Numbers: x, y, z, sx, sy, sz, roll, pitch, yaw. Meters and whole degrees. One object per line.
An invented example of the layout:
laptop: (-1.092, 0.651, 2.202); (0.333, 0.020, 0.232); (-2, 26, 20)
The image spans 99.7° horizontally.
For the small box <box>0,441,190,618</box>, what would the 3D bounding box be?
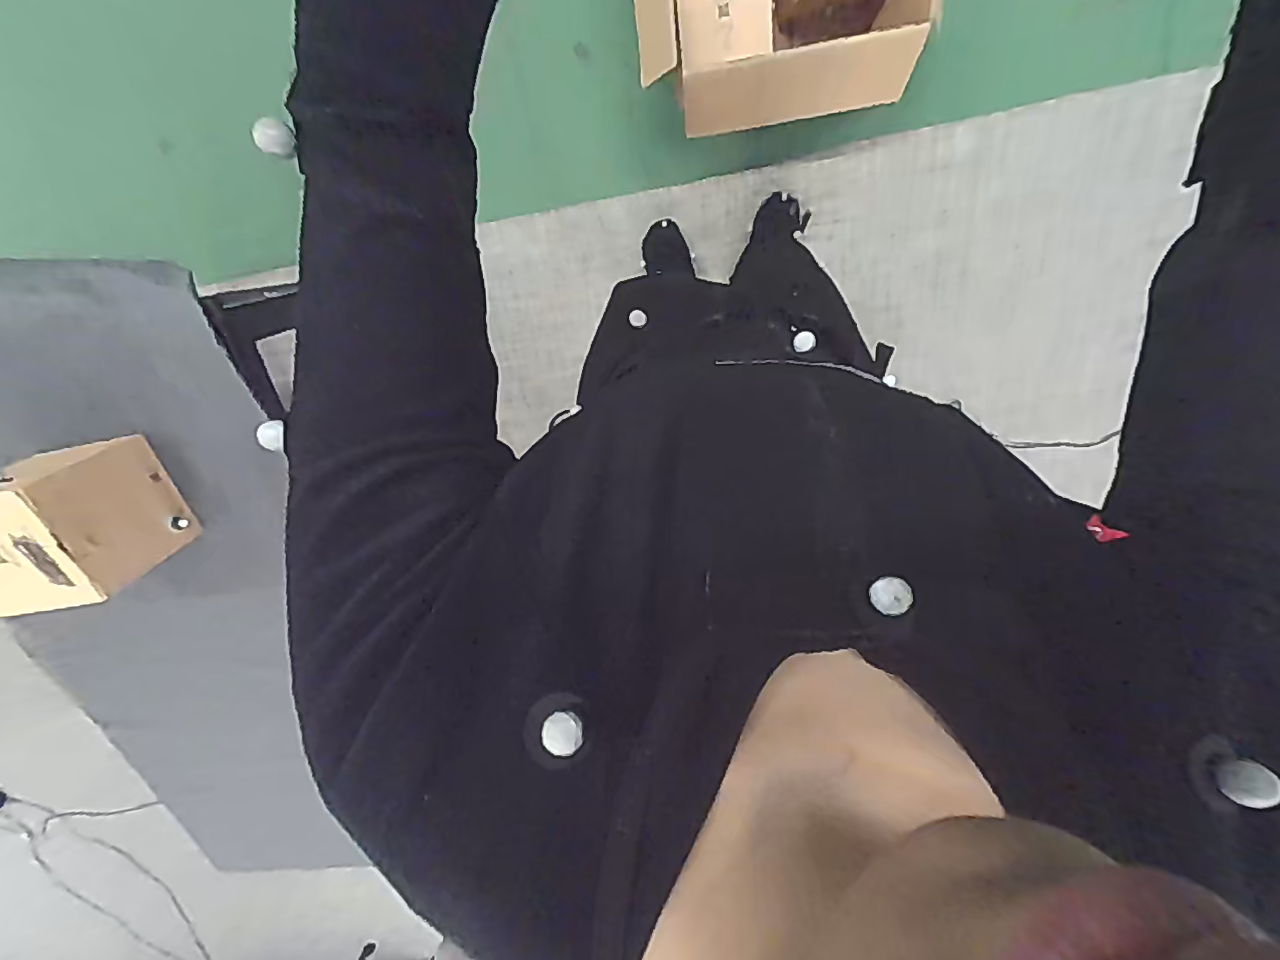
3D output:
small box: (-0.764, 0.059, 0.725); (0.179, 0.176, 0.168); (-9, 115, 8)
